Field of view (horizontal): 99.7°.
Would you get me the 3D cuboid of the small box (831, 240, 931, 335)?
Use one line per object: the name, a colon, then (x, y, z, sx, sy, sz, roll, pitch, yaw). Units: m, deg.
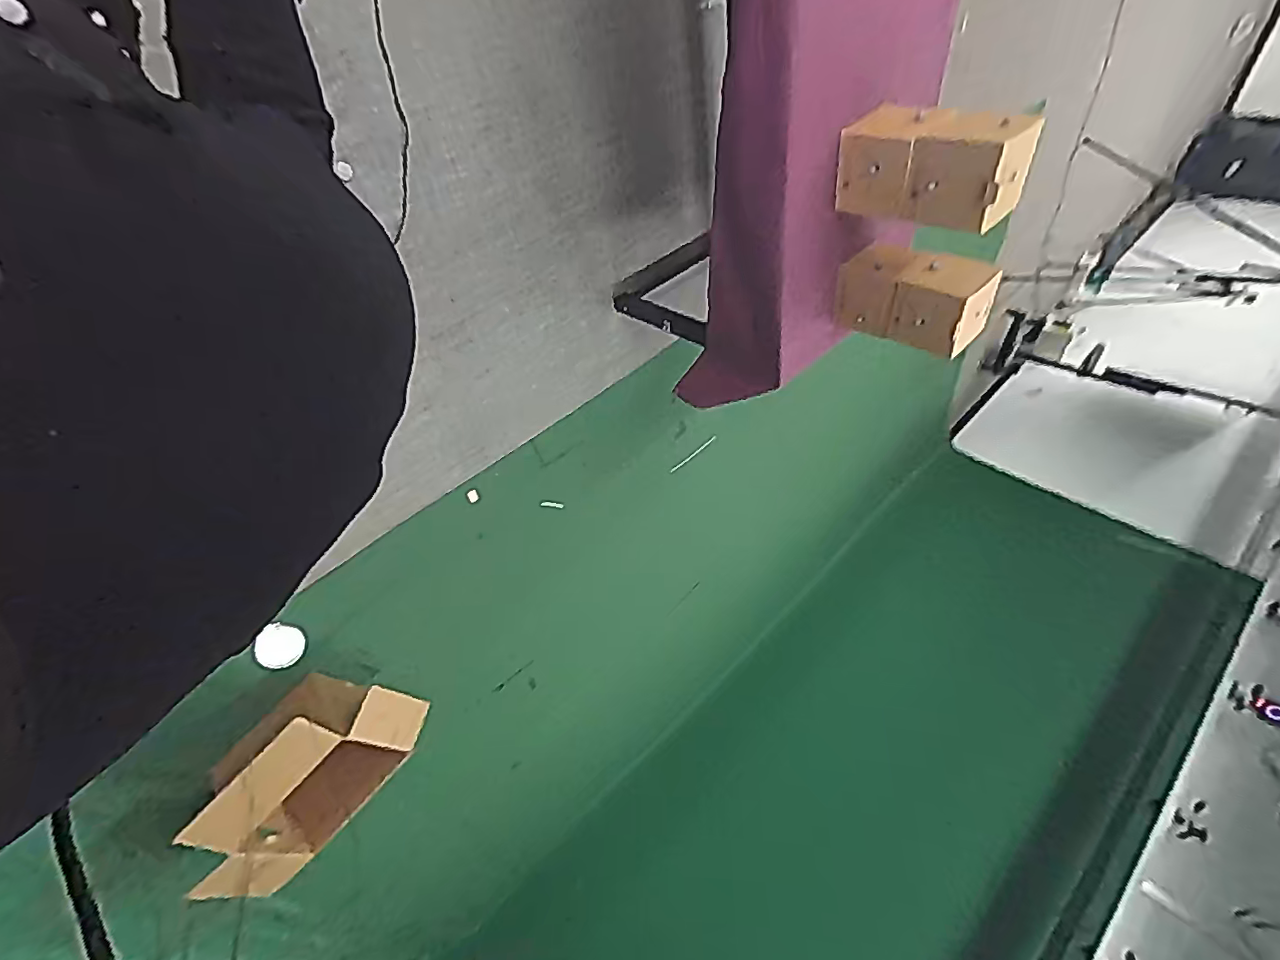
small box: (0.634, -0.516, 1.438, 0.179, 0.176, 0.168, -37, 140, -23)

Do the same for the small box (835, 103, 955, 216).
small box: (0.554, -0.712, 1.197, 0.179, 0.176, 0.168, -39, 141, -21)

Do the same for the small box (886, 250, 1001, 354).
small box: (0.740, -0.444, 1.337, 0.179, 0.176, 0.168, -36, 141, -22)

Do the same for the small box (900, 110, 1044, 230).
small box: (0.668, -0.638, 1.104, 0.179, 0.176, 0.168, -37, 140, -24)
